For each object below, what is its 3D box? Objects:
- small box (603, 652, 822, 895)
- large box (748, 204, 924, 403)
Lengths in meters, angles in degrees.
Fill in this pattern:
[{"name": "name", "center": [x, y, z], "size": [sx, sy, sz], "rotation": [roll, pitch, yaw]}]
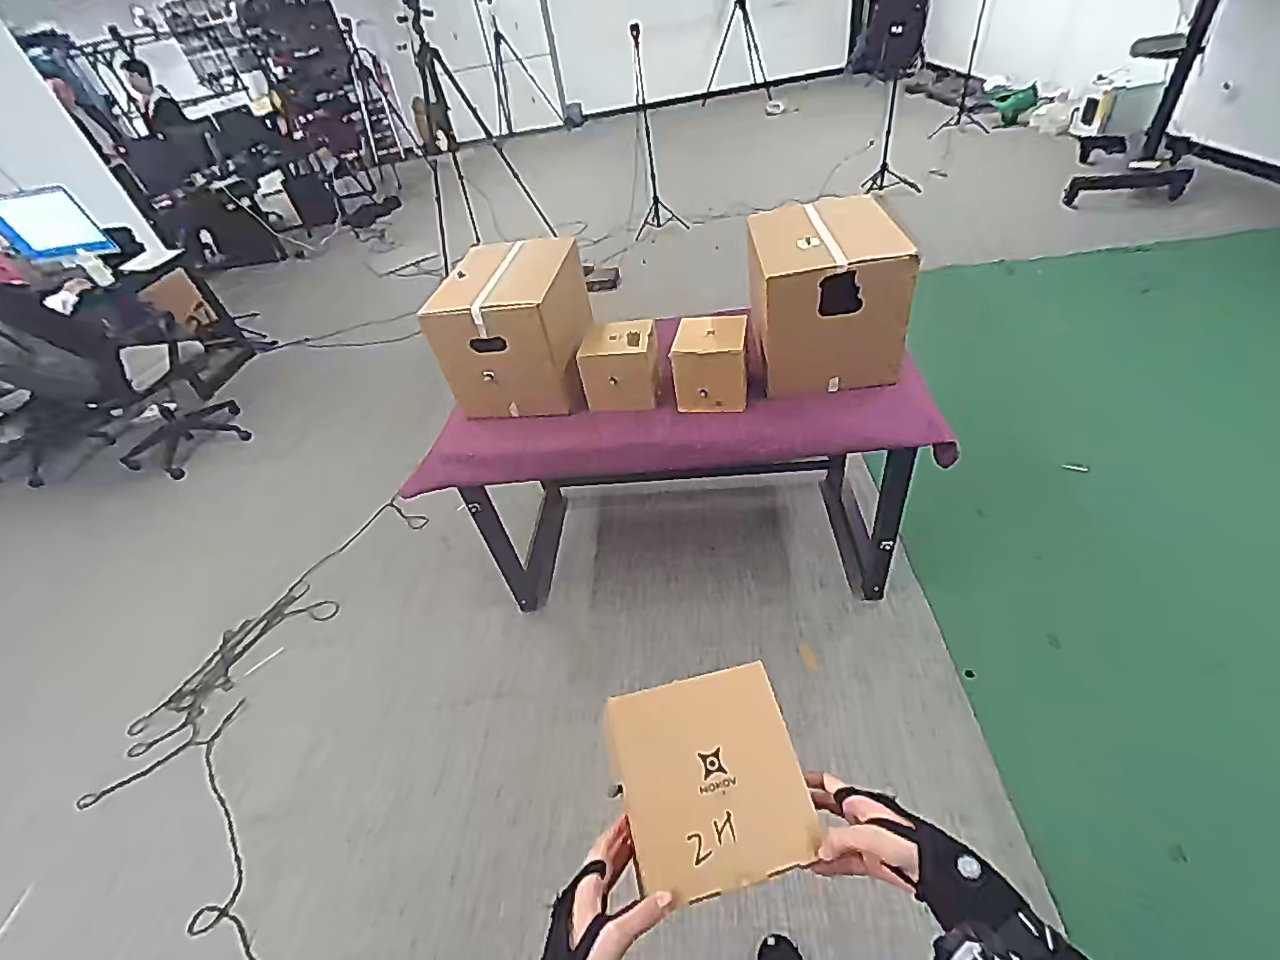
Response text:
[{"name": "small box", "center": [0.057, 0.303, 0.569], "size": [0.168, 0.176, 0.179], "rotation": [-9, 59, -11]}, {"name": "large box", "center": [0.455, -0.445, 1.352], "size": [0.320, 0.320, 0.408], "rotation": [-7, 43, 9]}]
